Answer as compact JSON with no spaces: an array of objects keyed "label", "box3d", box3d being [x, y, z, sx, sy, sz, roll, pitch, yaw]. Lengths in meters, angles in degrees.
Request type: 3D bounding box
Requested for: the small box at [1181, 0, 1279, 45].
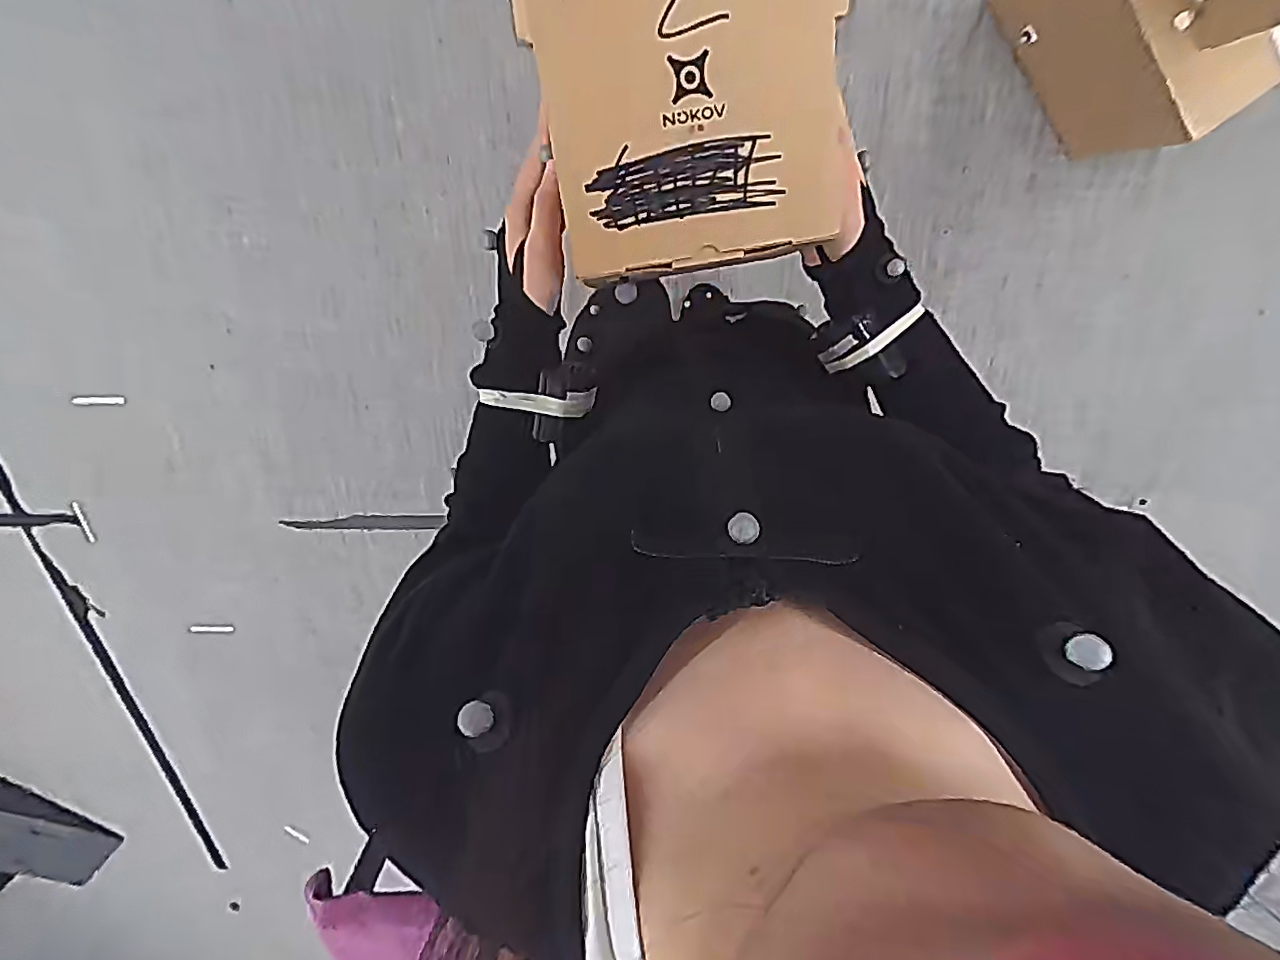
[{"label":"small box","box3d":[0.919,-0.772,0.756,0.179,0.176,0.168,-40,107,18]}]
